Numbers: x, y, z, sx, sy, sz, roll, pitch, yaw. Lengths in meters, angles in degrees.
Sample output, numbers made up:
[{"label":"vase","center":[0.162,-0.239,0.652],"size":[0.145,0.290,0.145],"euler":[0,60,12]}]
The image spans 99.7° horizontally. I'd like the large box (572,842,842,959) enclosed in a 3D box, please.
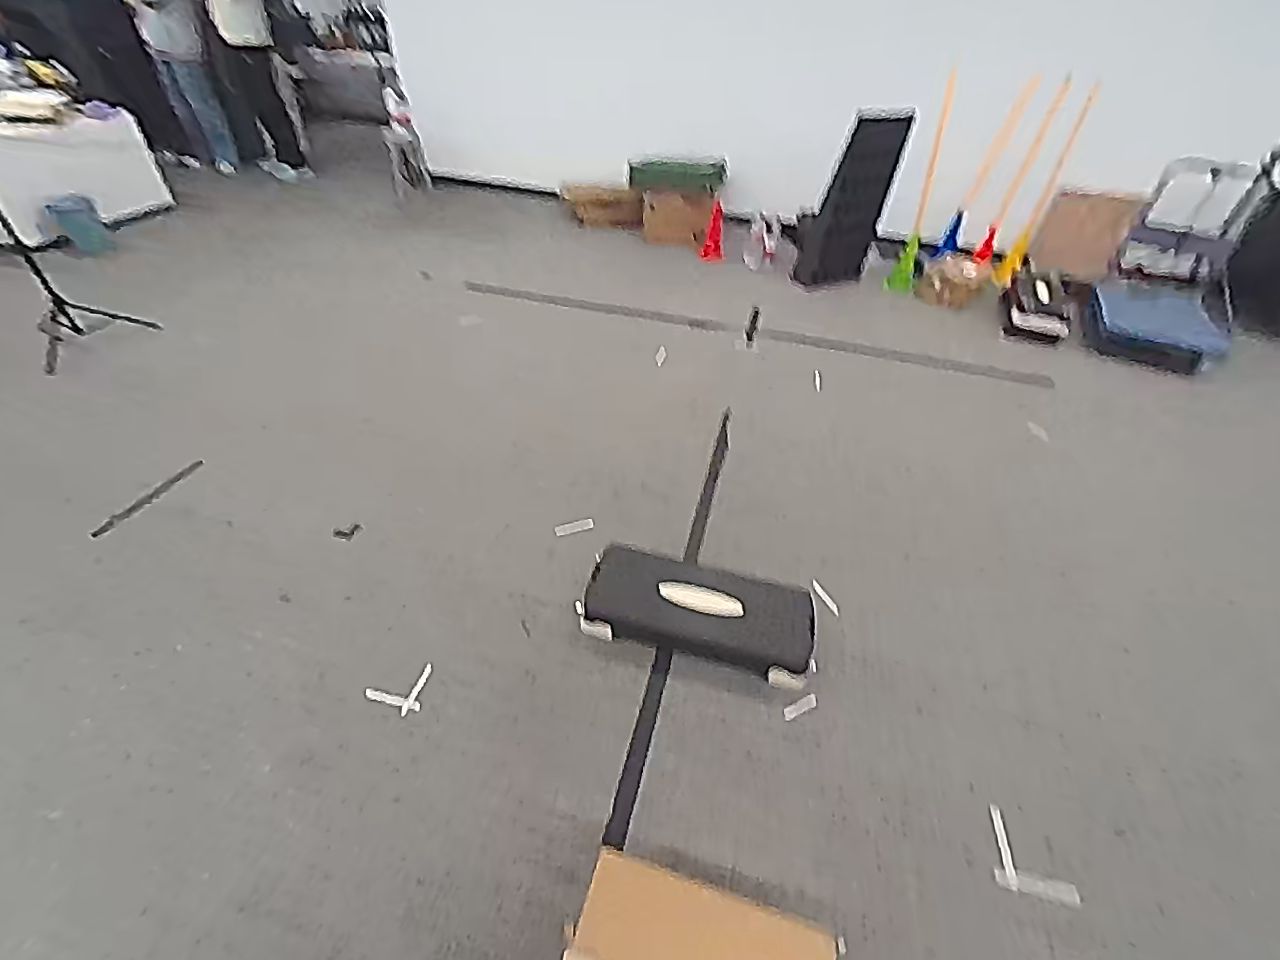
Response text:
[{"label":"large box","center":[0.077,0.866,0.880],"size":[0.408,0.320,0.320],"euler":[14,43,9]}]
